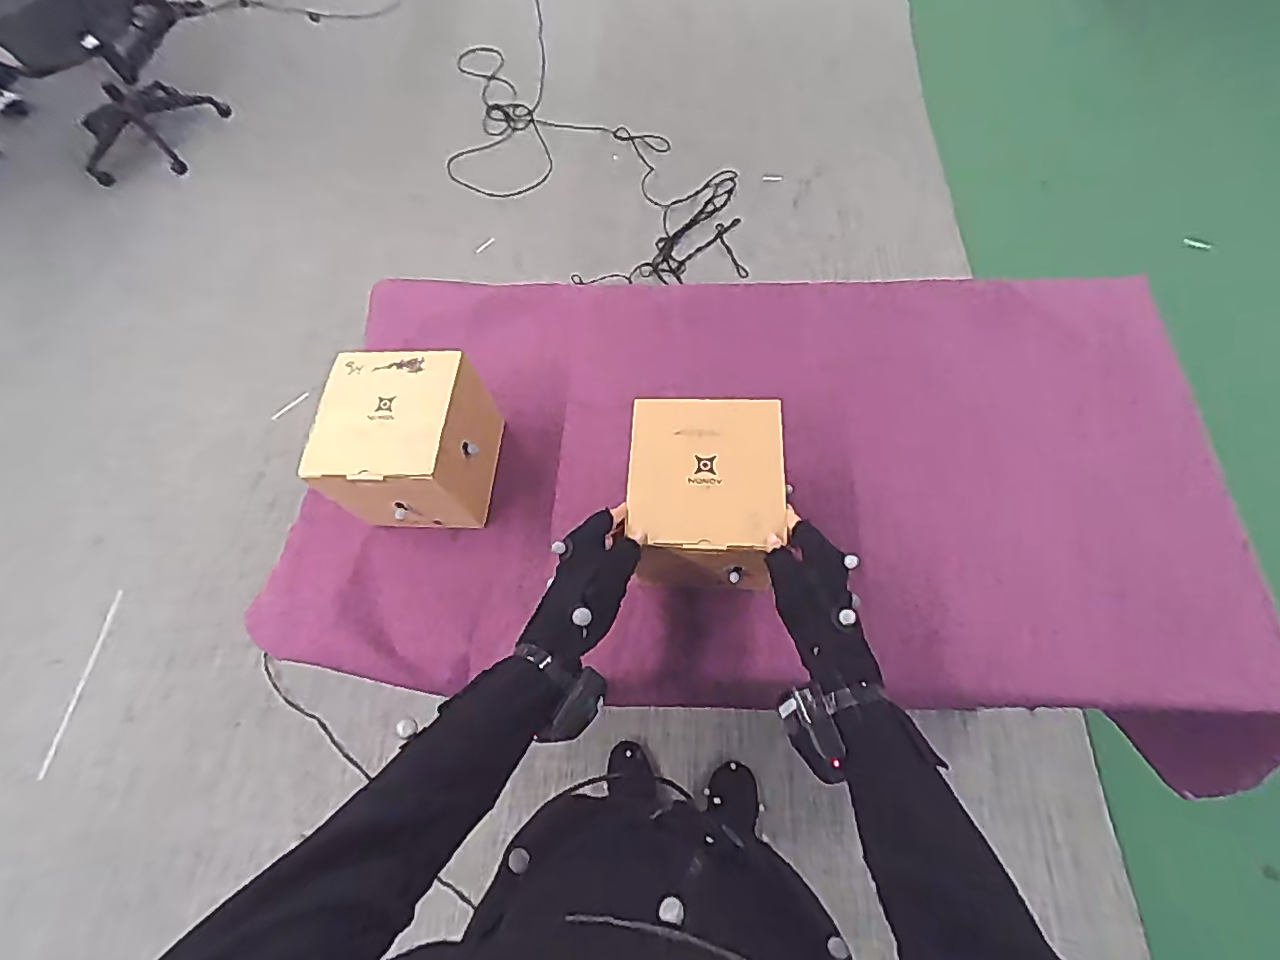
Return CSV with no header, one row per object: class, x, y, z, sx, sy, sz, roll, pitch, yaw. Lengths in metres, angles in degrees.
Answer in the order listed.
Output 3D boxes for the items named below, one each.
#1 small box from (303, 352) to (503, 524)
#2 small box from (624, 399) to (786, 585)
small box,-0.293,-0.047,0.714,0.168,0.176,0.179,1,66,6
small box,0.078,0.022,0.645,0.168,0.176,0.179,2,65,6
